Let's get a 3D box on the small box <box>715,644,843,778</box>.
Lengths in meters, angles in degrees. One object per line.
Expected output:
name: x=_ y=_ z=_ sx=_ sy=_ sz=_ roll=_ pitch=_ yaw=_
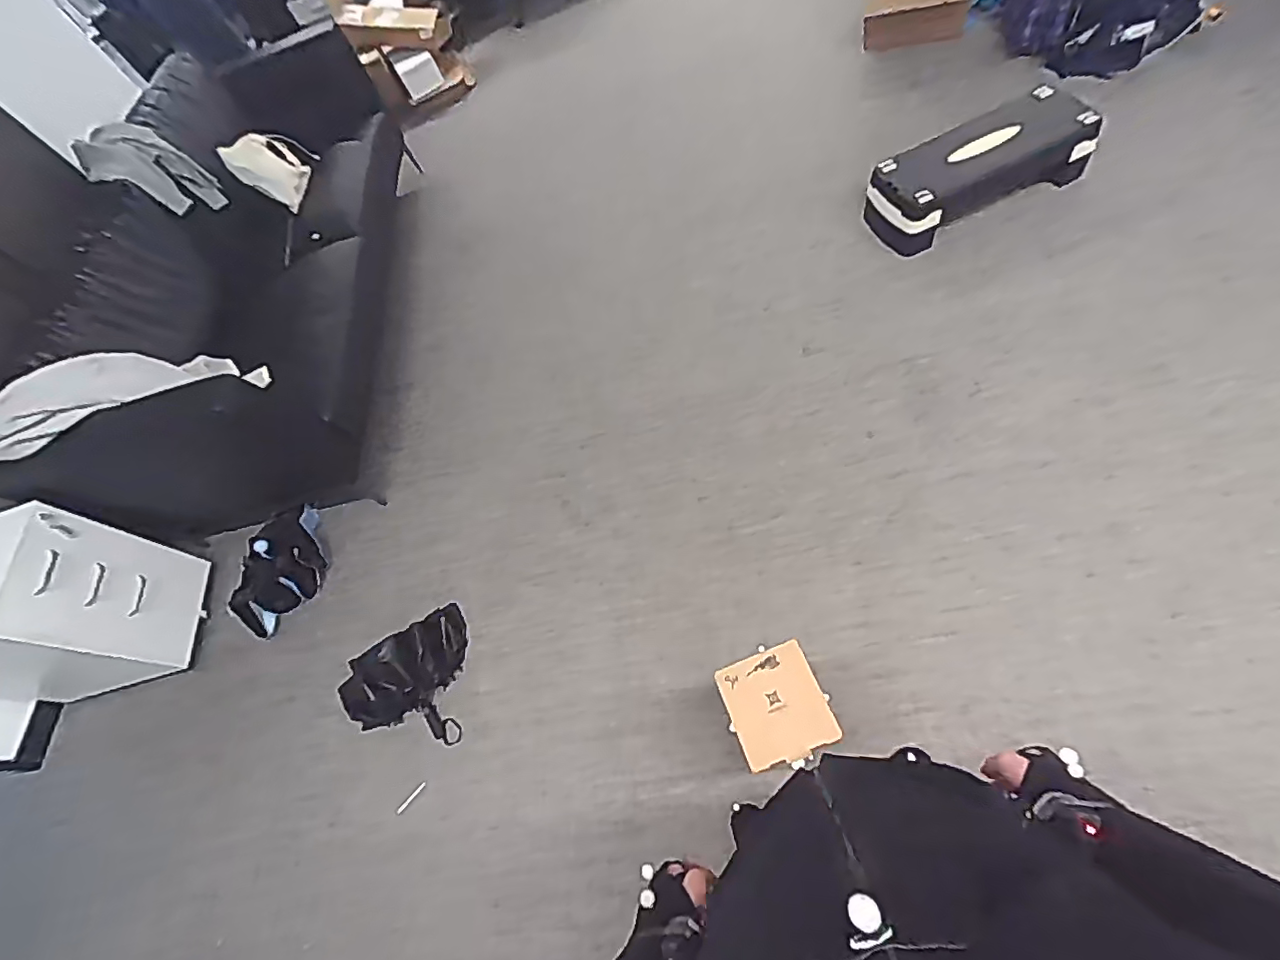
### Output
small box: x=0.257 y=0.427 z=1.003 sx=0.168 sy=0.176 sz=0.179 roll=-24 pitch=60 yaw=4
